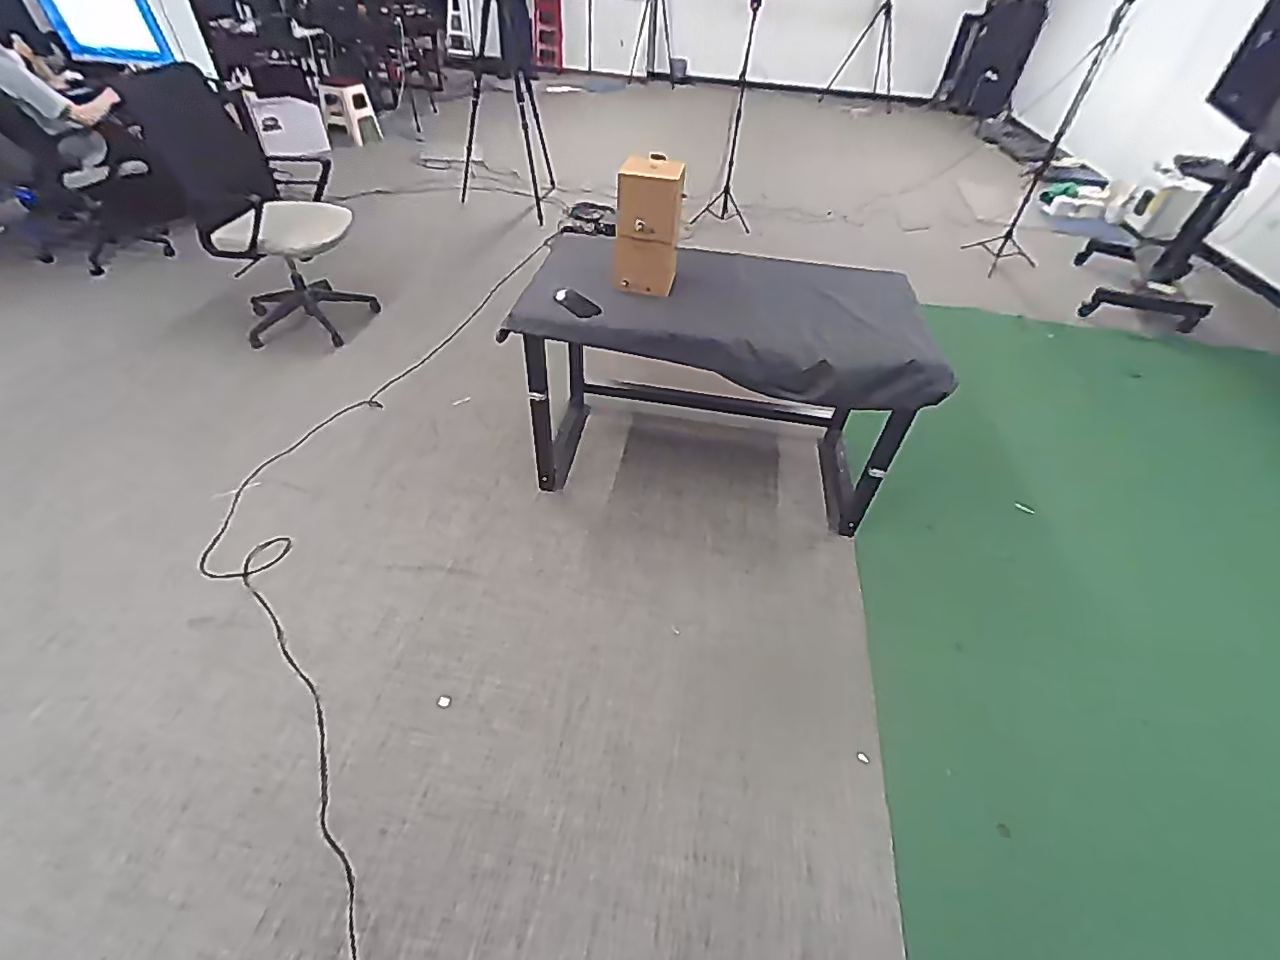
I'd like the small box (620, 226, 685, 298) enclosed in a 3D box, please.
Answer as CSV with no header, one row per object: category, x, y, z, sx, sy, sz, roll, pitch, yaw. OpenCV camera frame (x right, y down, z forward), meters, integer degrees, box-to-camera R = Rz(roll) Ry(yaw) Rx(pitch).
small box,0.037,-0.677,1.654,0.168,0.176,0.179,10,44,5

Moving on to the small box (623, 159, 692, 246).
small box,0.047,-0.789,1.537,0.168,0.176,0.179,9,45,5
